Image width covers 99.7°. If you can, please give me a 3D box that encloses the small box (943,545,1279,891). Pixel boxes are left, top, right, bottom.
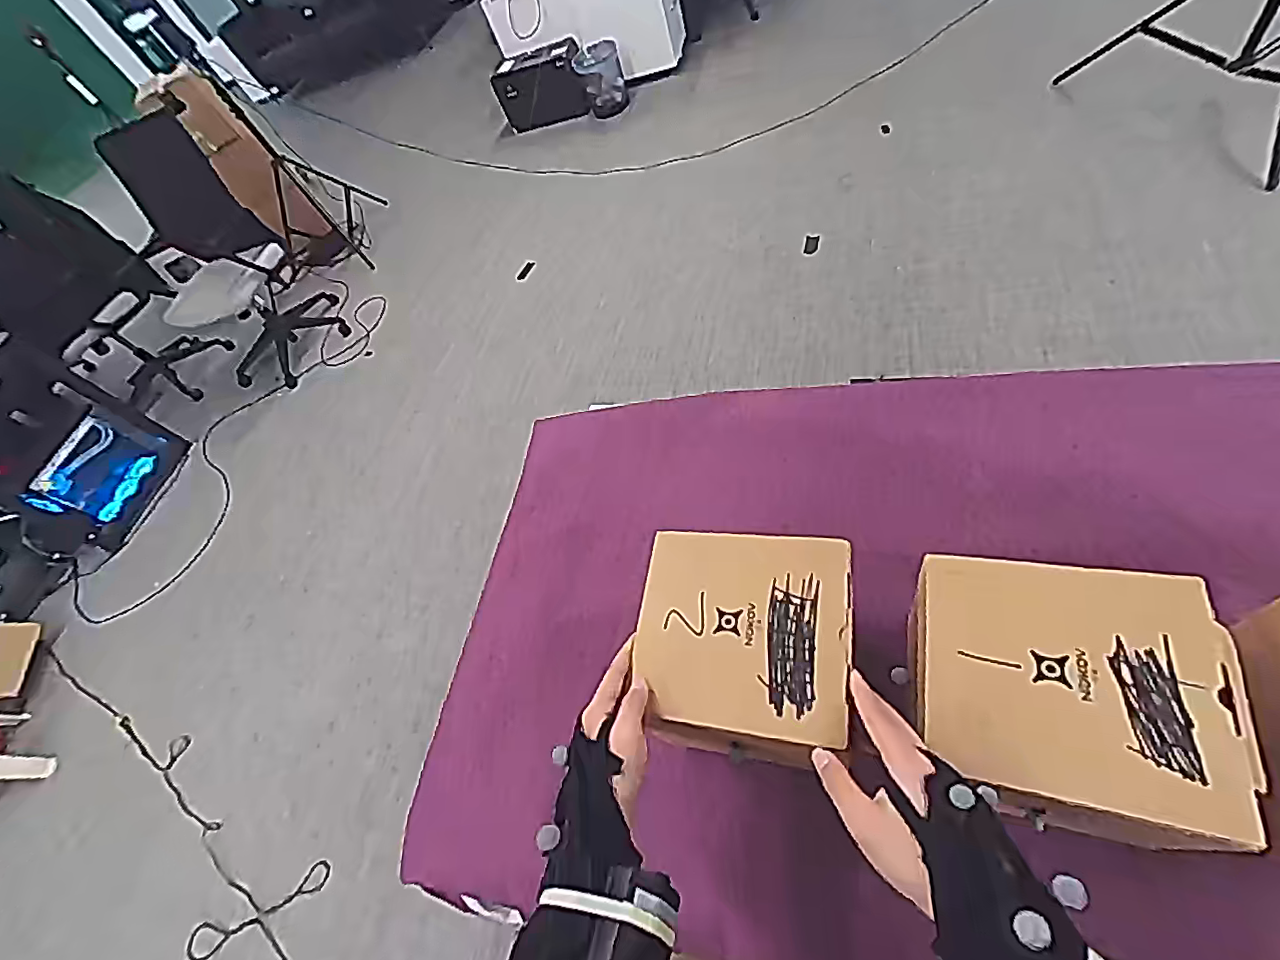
[{"bbox_3d":[0.369,0.165,0.409,0.179,0.176,0.168,-18,93,15],"label":"small box"}]
